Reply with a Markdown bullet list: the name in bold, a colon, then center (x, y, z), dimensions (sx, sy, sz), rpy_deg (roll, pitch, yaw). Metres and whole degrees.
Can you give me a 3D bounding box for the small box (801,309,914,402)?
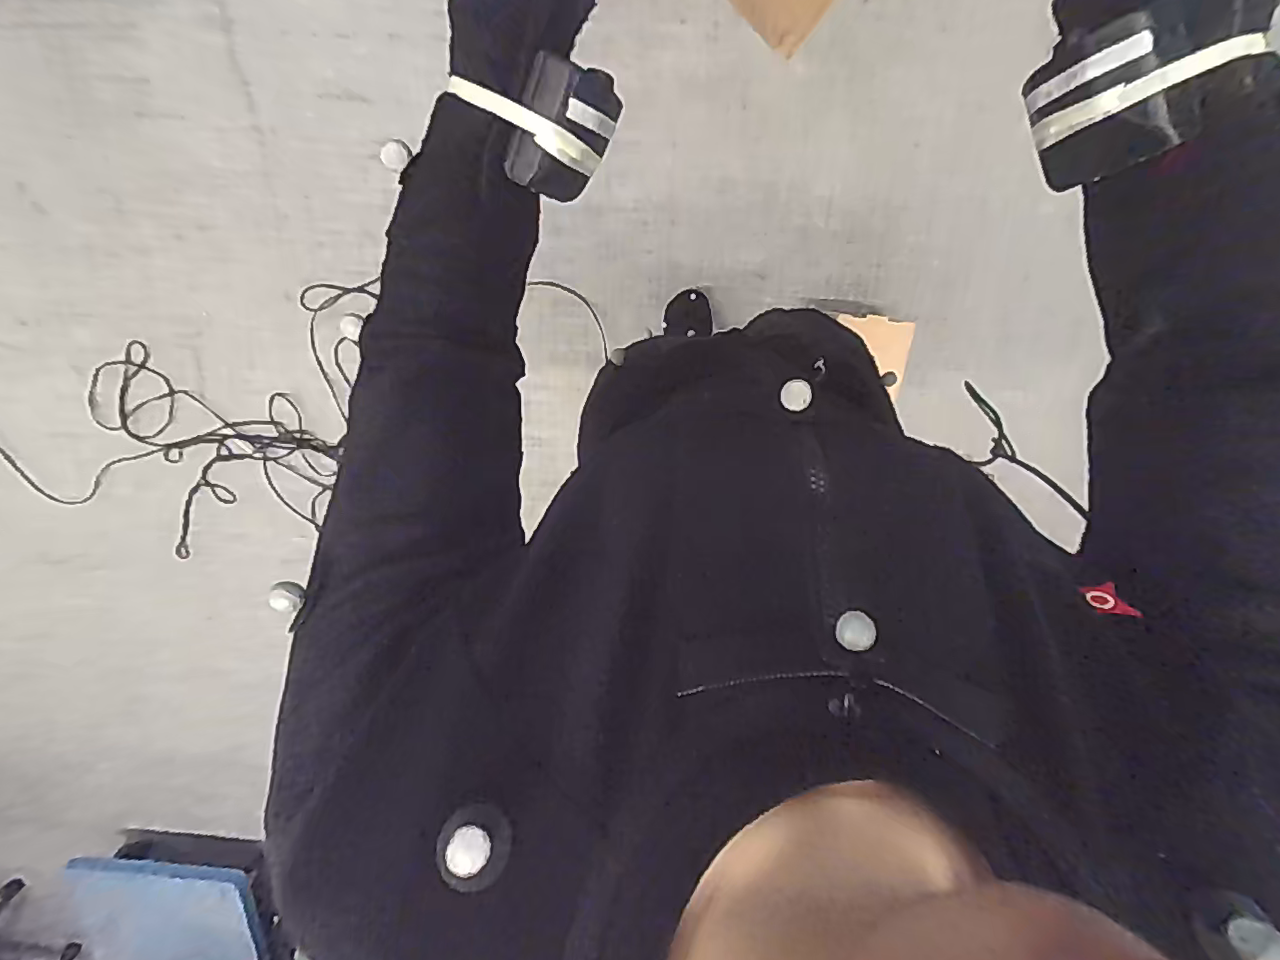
- **small box**: center (0.470, -0.282, 1.198), dimensions (0.168, 0.176, 0.179), rpy_deg (6, 109, -1)
